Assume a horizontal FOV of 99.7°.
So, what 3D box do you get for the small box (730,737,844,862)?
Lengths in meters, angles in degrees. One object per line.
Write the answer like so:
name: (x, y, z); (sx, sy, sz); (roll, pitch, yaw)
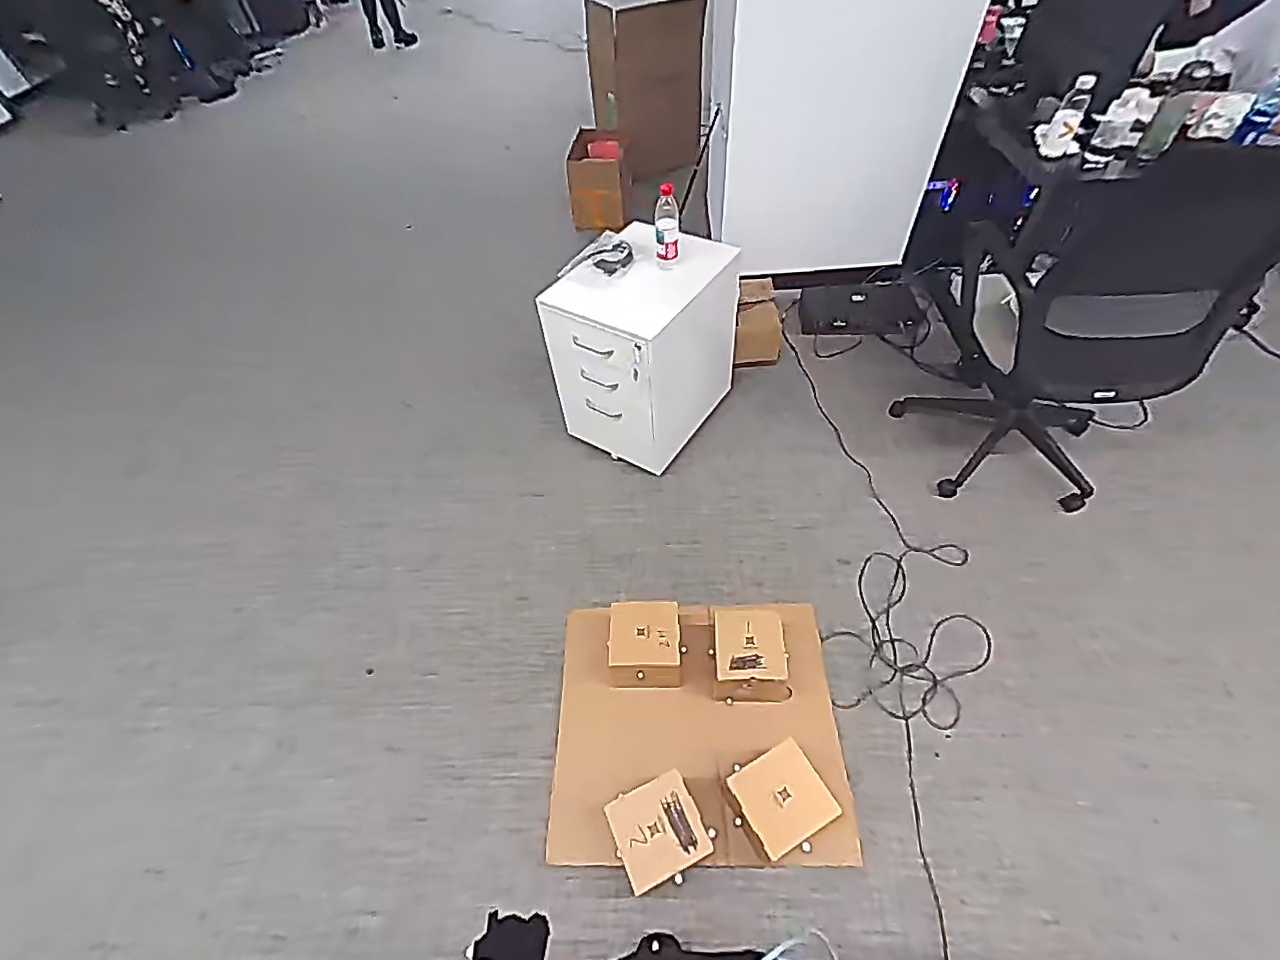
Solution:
small box: (0.309, 0.698, 1.179); (0.179, 0.176, 0.168); (-27, 53, -13)
